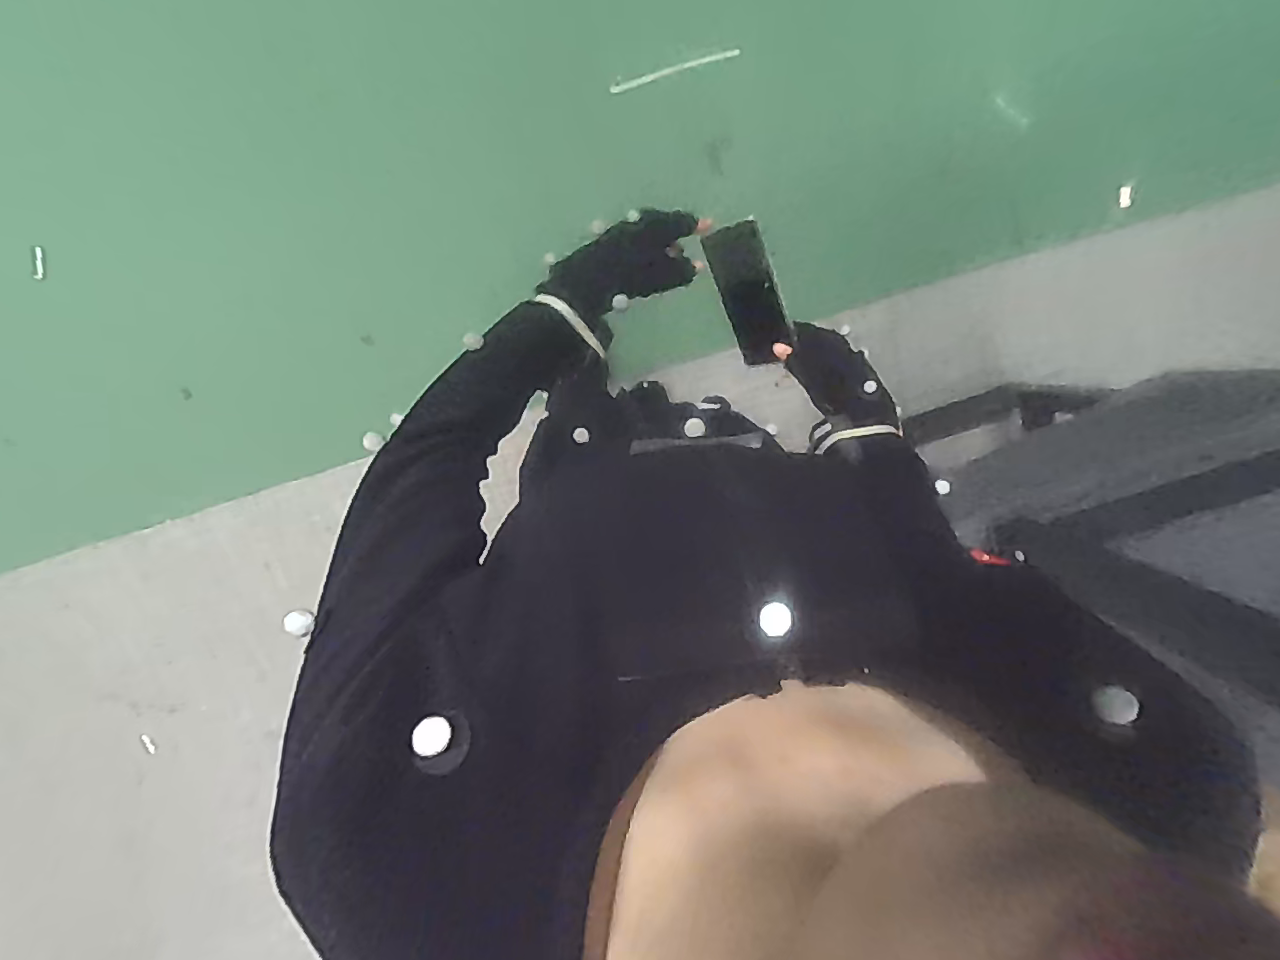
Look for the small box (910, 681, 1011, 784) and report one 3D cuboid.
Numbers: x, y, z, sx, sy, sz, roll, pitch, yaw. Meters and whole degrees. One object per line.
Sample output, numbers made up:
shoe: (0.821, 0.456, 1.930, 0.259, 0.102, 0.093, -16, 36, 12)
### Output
small box: (0.850, 0.672, 1.454, 0.179, 0.176, 0.168, -14, 102, 2)
